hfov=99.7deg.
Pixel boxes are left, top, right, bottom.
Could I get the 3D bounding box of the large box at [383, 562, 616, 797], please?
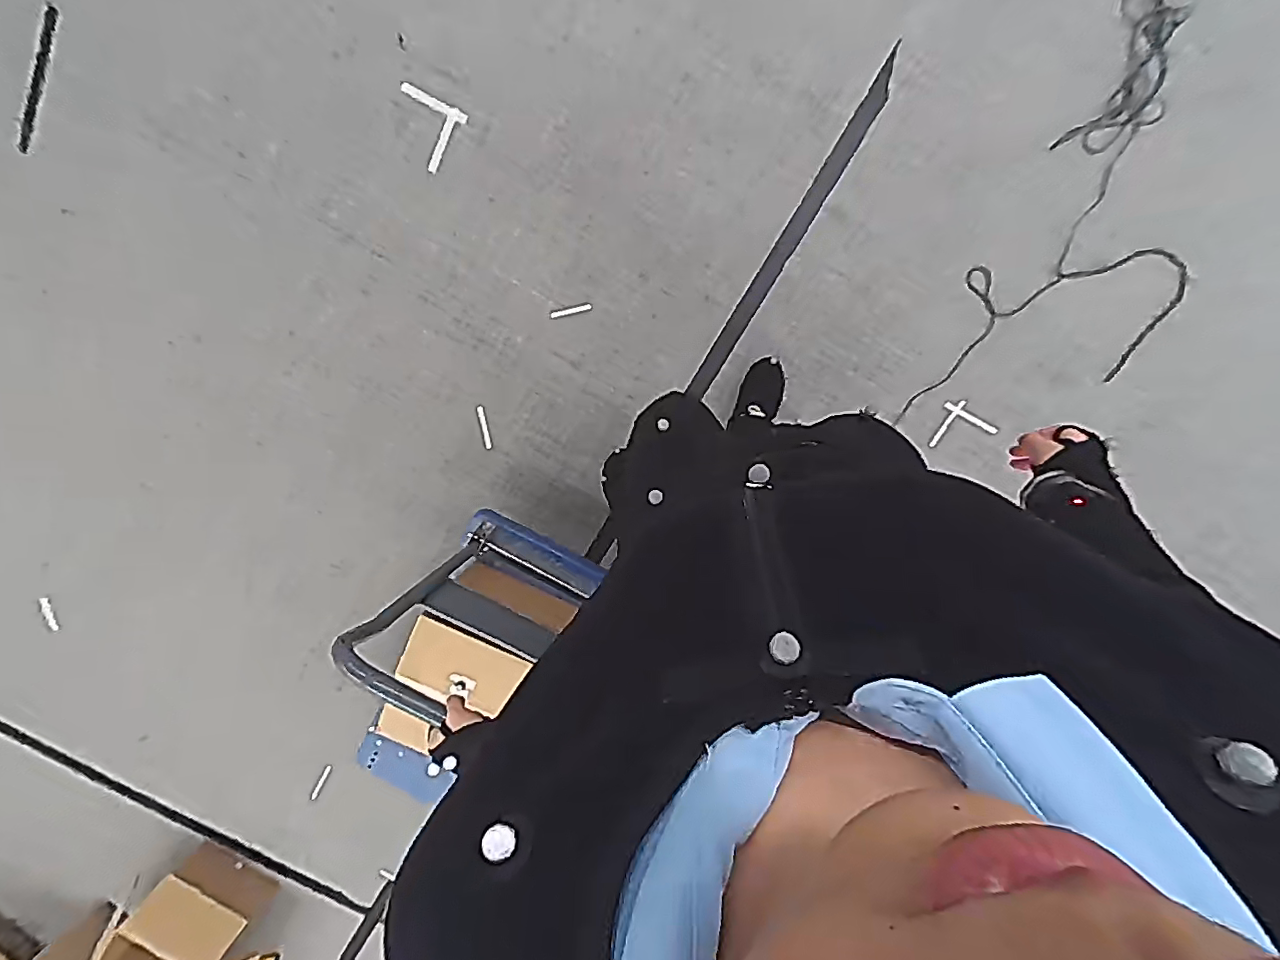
[{"bbox_3d":[-0.309,0.452,1.291,0.408,0.320,0.320,25,102,-1],"label":"large box"}]
